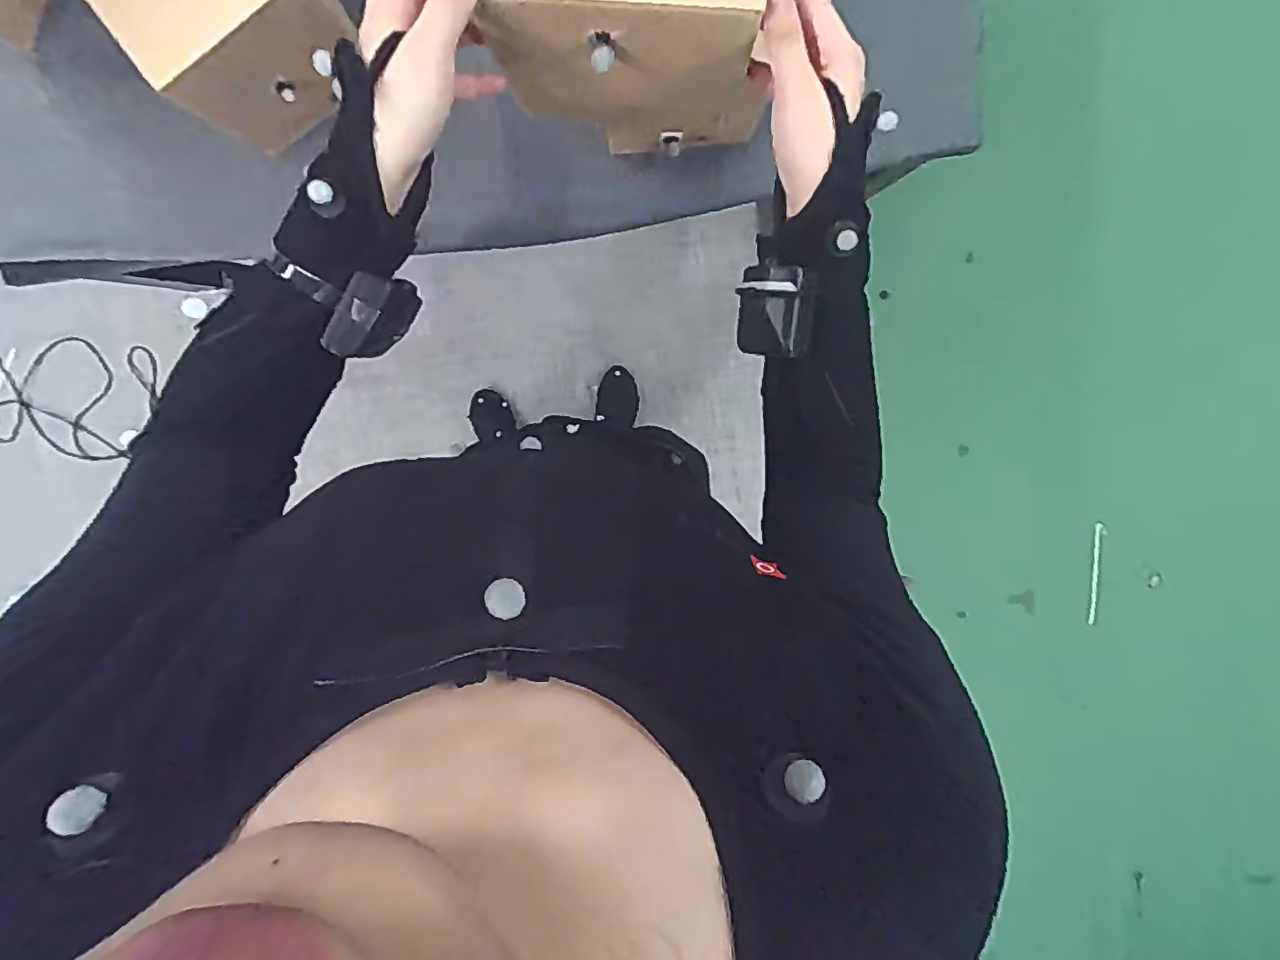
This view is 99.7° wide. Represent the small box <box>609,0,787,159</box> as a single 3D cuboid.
[{"bbox_3d":[0.042,-0.454,0.541,0.168,0.176,0.179,-5,103,2],"label":"small box"}]

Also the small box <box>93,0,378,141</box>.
[{"bbox_3d":[-0.402,-0.474,0.534,0.168,0.176,0.179,-32,101,6],"label":"small box"}]

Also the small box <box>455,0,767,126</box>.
[{"bbox_3d":[-0.007,-0.357,0.356,0.179,0.176,0.168,5,105,3],"label":"small box"}]
